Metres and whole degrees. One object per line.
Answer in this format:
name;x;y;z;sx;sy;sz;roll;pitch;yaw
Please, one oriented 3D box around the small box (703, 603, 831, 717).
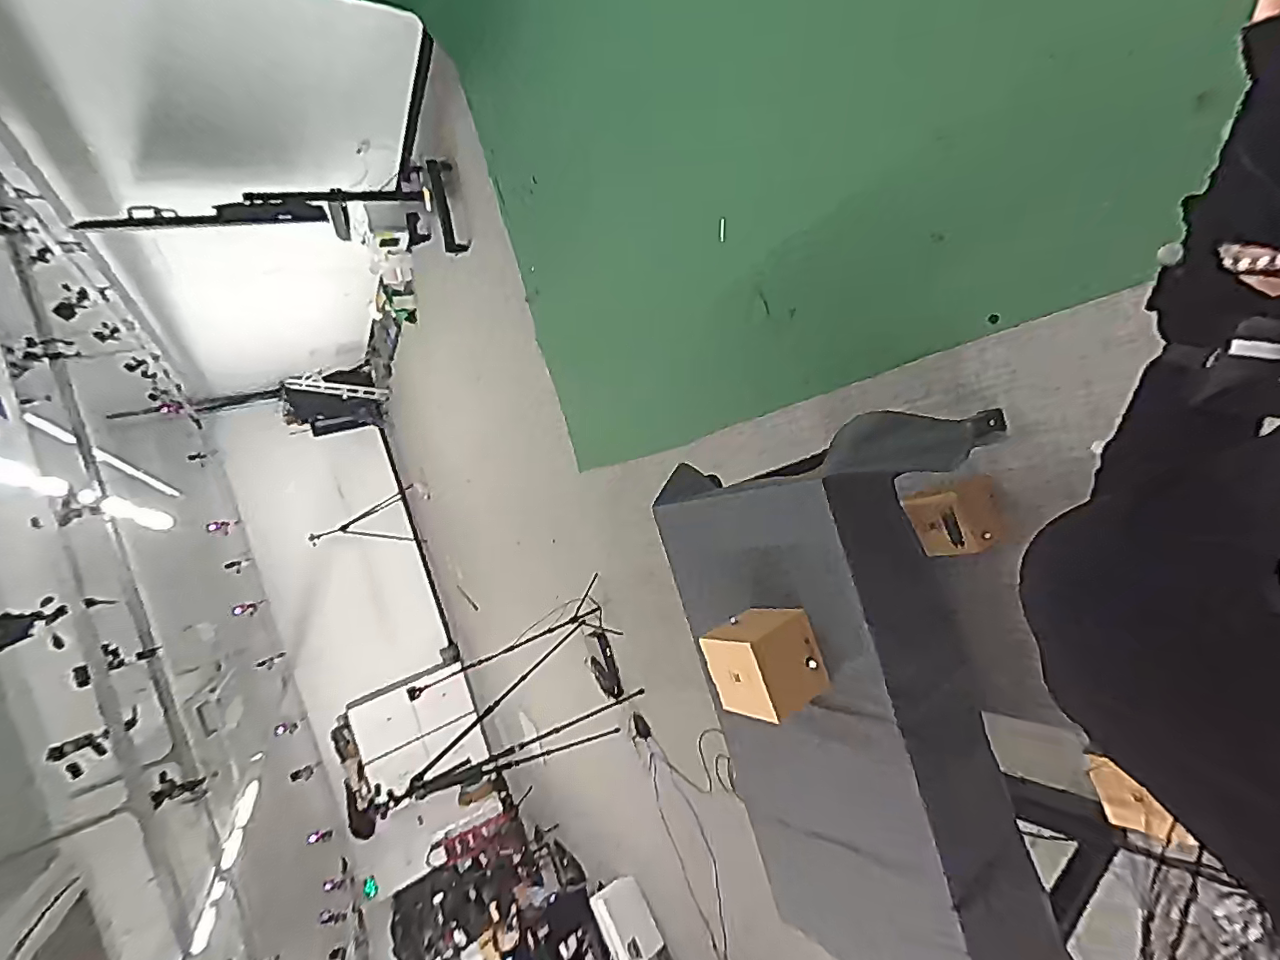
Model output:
small box;0.271;0.373;1.157;0.179;0.176;0.168;-21;89;59
